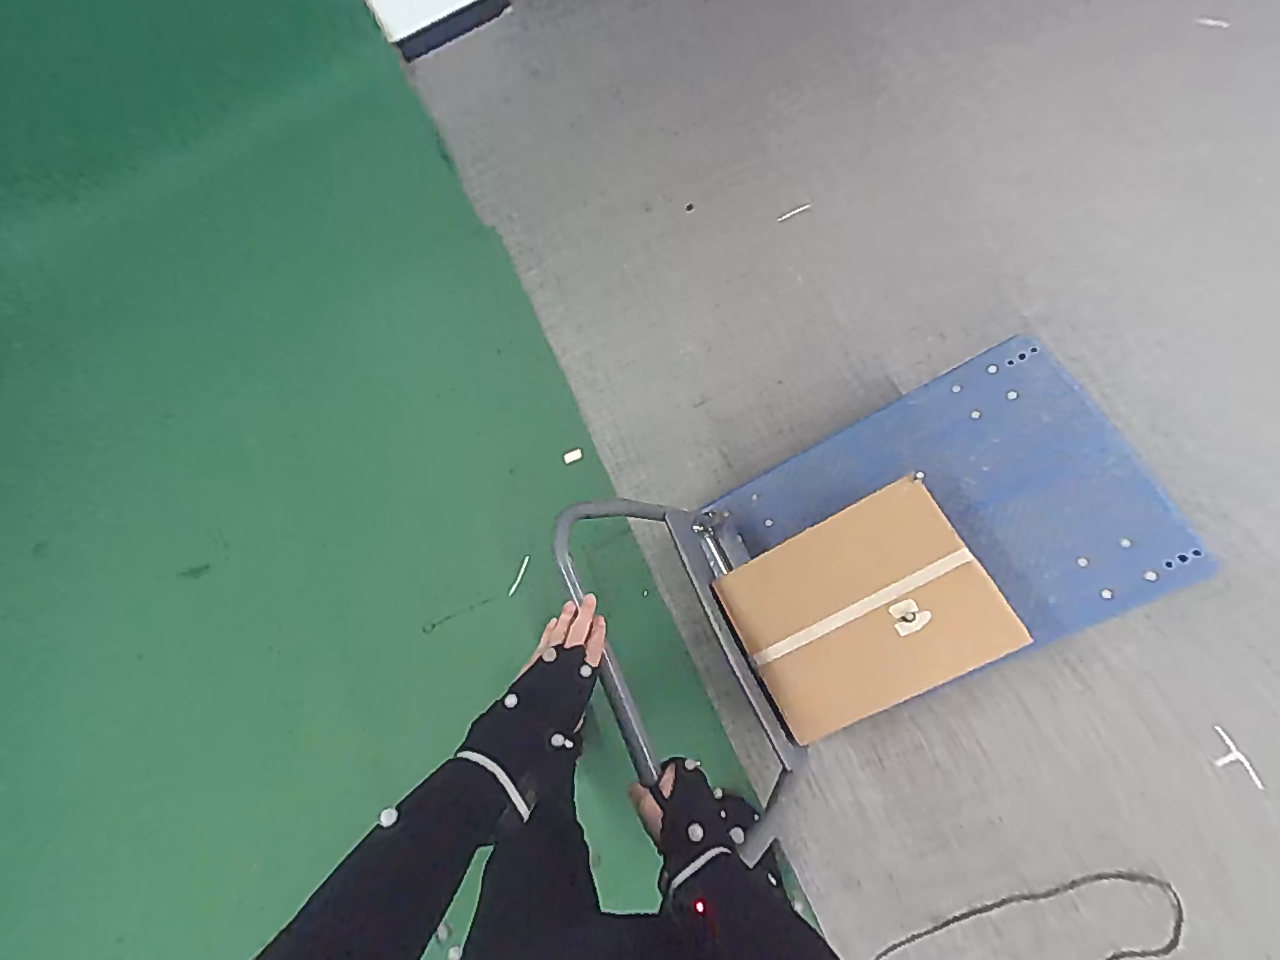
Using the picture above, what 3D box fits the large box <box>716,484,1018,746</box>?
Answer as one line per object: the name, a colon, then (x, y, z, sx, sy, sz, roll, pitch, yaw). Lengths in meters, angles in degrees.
large box: (0.420, 0.261, 1.076, 0.408, 0.320, 0.320, -31, 72, 13)
